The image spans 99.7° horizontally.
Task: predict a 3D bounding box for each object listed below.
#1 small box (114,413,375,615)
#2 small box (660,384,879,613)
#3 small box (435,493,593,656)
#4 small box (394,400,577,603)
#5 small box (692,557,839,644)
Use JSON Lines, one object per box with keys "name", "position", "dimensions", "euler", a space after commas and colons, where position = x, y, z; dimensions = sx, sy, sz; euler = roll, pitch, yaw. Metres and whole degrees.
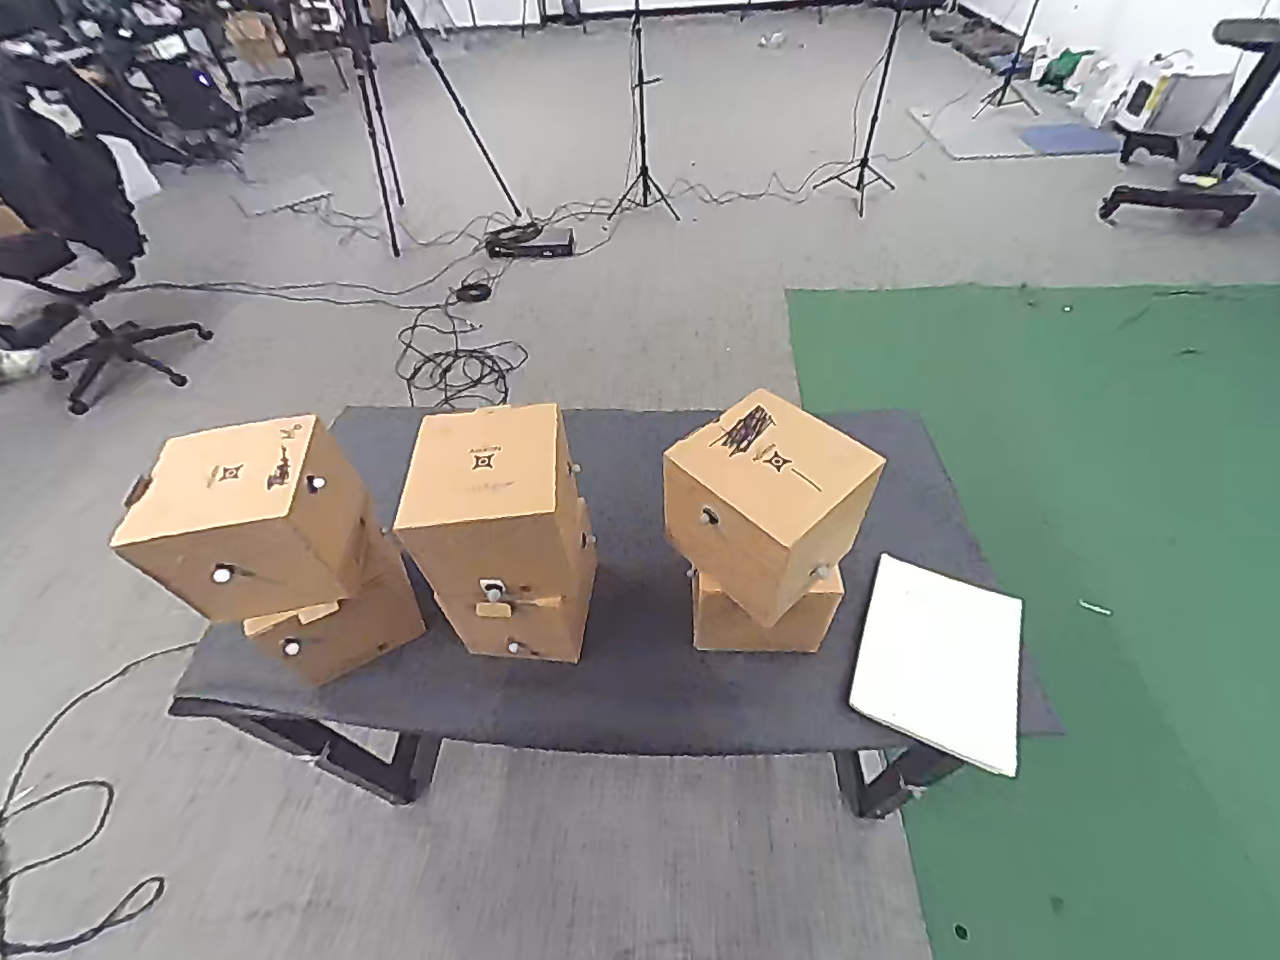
{"name": "small box", "position": [-0.460, 0.046, 0.666], "dimensions": [0.179, 0.176, 0.168], "euler": [-12, 49, -5]}
{"name": "small box", "position": [0.141, 0.022, 0.642], "dimensions": [0.168, 0.176, 0.179], "euler": [-35, 55, -23]}
{"name": "small box", "position": [-0.166, 0.134, 0.786], "dimensions": [0.168, 0.176, 0.179], "euler": [2, 49, 7]}
{"name": "small box", "position": [-0.172, 0.028, 0.663], "dimensions": [0.168, 0.176, 0.179], "euler": [-7, 49, 0]}
{"name": "small box", "position": [0.164, 0.123, 0.771], "dimensions": [0.179, 0.176, 0.168], "euler": [-1, 48, 4]}
